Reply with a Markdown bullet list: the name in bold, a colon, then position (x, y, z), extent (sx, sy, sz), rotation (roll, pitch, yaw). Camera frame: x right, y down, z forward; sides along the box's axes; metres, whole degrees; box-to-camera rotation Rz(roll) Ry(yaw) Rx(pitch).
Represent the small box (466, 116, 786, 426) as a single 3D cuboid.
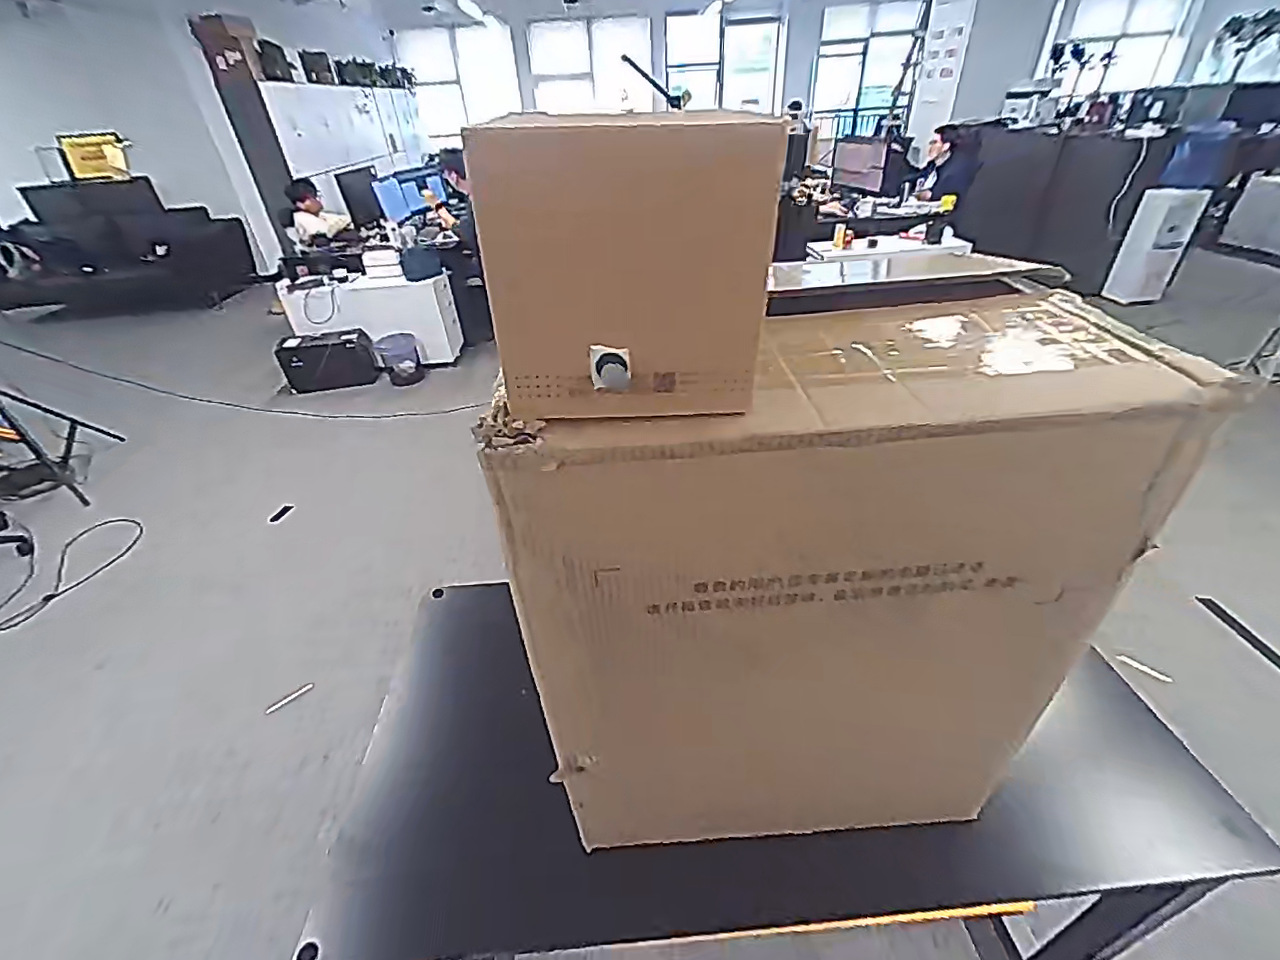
- **small box**: position (-0.010, -0.153, 0.385), extent (0.168, 0.176, 0.179), rotation (-4, 37, -2)
